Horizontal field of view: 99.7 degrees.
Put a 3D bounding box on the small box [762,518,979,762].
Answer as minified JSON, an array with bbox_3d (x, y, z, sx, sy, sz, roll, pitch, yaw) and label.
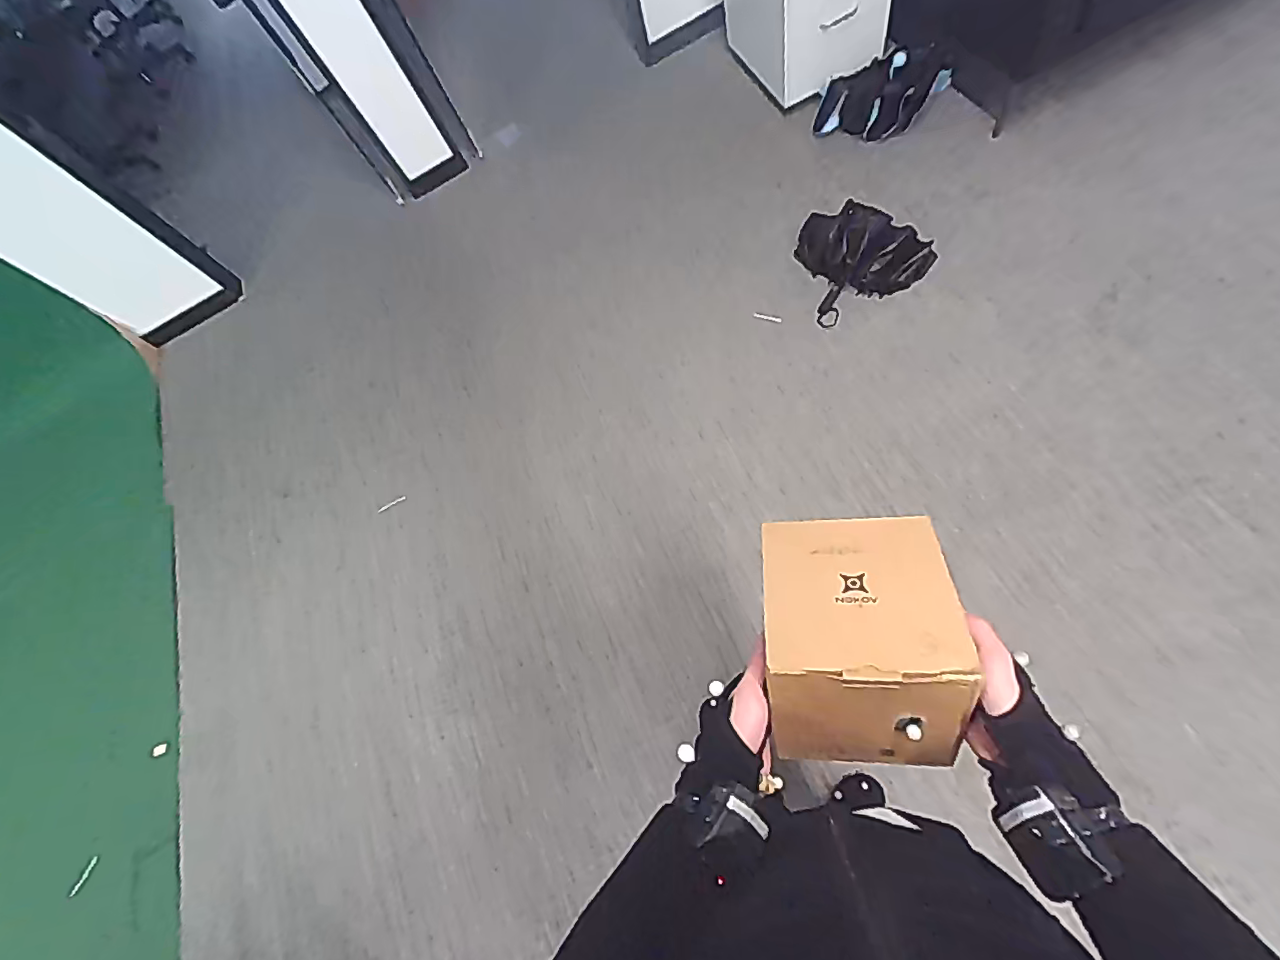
[{"bbox_3d":[0.212,0.160,0.545,0.168,0.176,0.179,-3,39,13],"label":"small box"}]
